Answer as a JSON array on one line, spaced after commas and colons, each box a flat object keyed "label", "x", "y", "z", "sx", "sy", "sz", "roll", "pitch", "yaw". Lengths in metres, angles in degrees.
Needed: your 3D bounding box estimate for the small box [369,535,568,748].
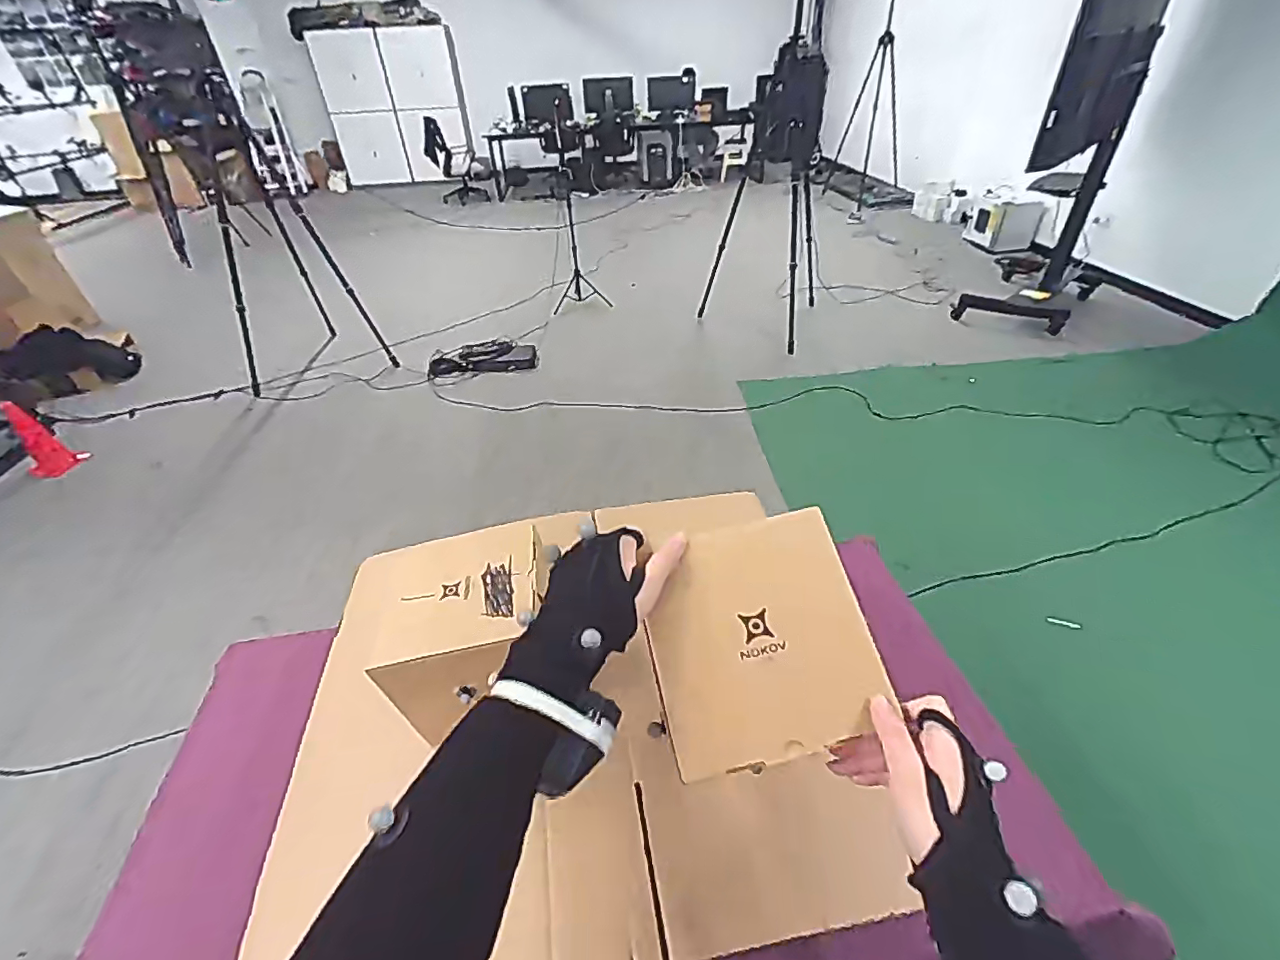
[{"label": "small box", "x": -0.189, "y": 0.196, "z": 0.658, "sx": 0.179, "sy": 0.176, "sz": 0.168, "roll": -13, "pitch": 39, "yaw": 0}]
